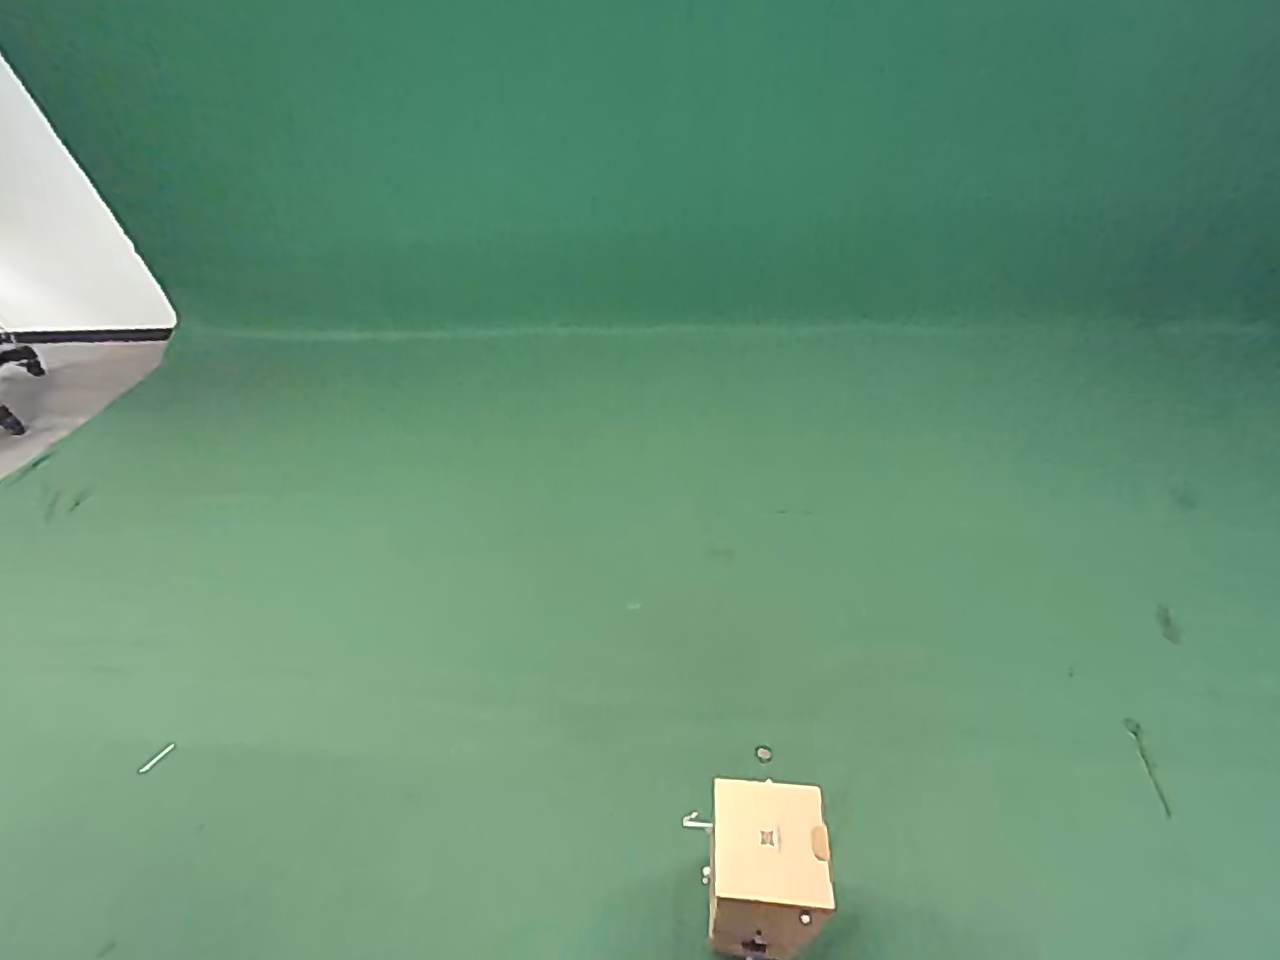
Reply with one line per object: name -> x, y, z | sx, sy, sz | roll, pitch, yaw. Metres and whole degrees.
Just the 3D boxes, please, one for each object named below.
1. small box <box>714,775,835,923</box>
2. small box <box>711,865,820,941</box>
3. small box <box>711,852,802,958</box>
small box -> 0.212, 0.616, 0.902 | 0.179, 0.176, 0.168 | 1, 43, 7
small box -> 0.228, 0.734, 1.010 | 0.179, 0.176, 0.168 | 3, 42, 9
small box -> 0.234, 0.857, 1.121 | 0.168, 0.176, 0.179 | 1, 43, 8
